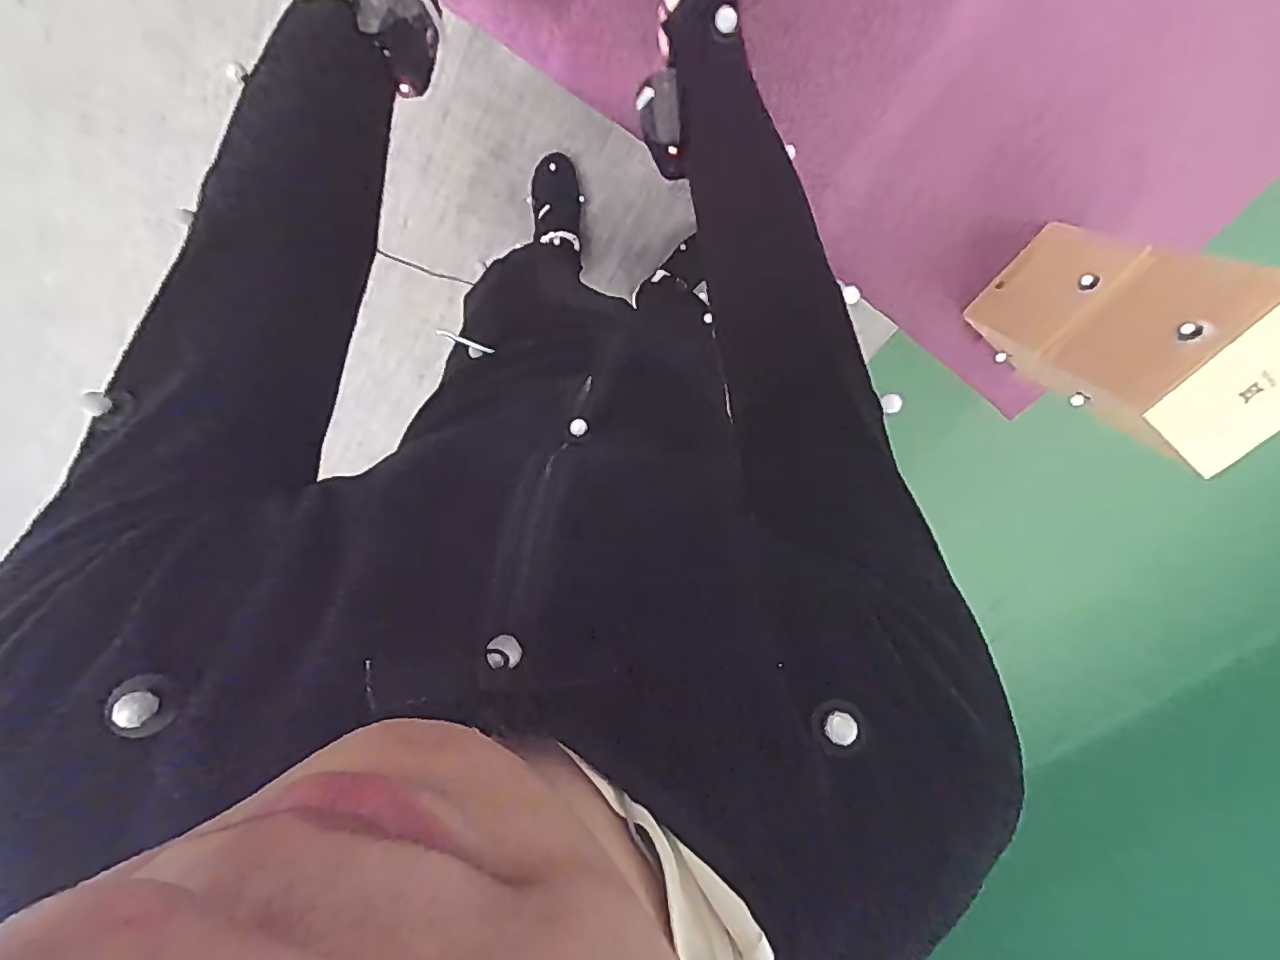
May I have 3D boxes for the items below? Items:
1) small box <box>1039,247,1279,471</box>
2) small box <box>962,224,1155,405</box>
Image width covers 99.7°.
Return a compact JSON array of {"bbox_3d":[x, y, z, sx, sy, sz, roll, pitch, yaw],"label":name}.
[{"bbox_3d":[0.644,-0.150,0.649,0.168,0.176,0.179,28,116,-23],"label":"small box"},{"bbox_3d":[0.621,-0.242,0.782,0.179,0.176,0.168,27,116,-25],"label":"small box"}]
